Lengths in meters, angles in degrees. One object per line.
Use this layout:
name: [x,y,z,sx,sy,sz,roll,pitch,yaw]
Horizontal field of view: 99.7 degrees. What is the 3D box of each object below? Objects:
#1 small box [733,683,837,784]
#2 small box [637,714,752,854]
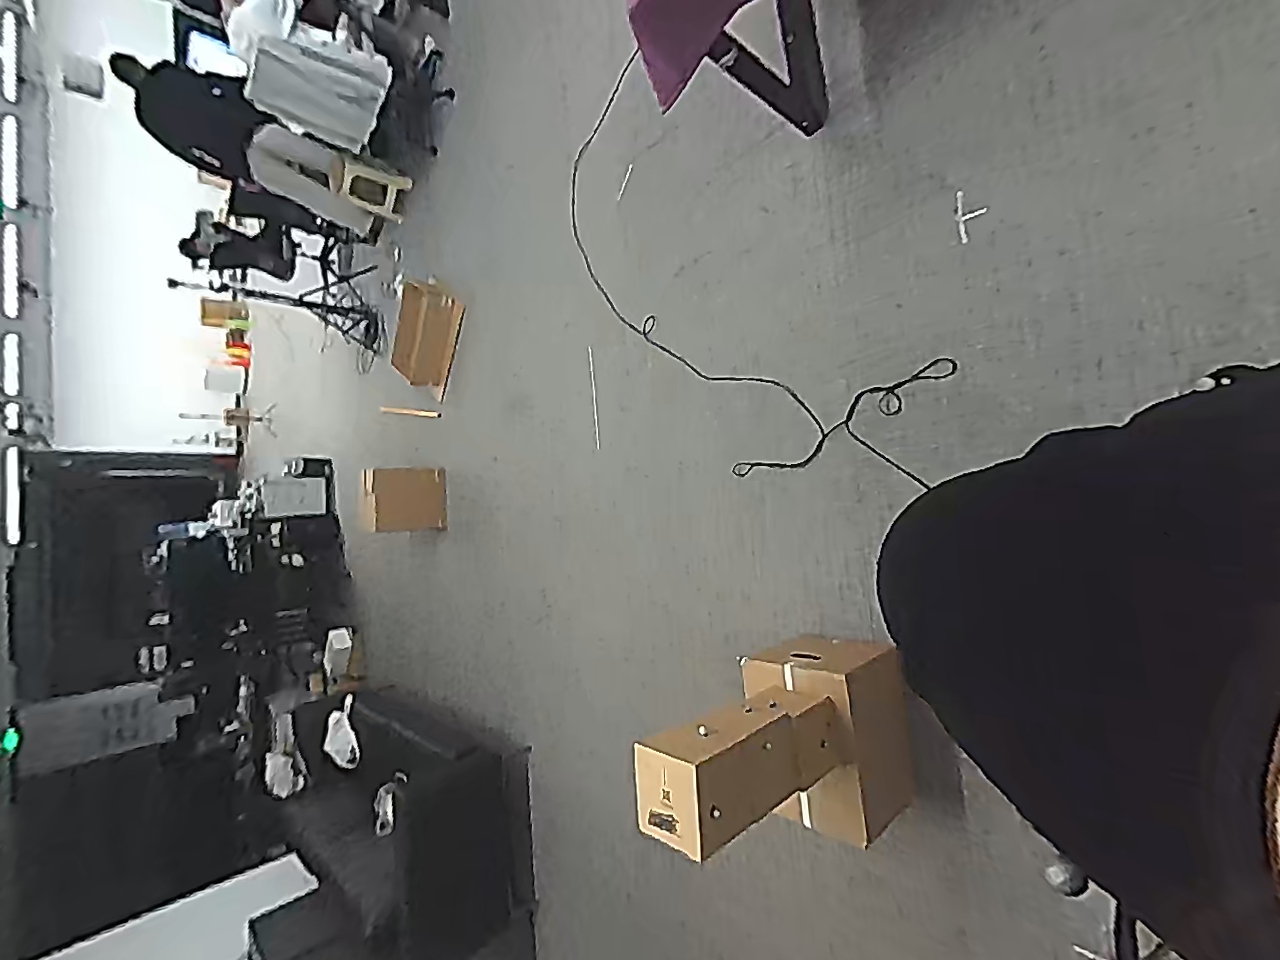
small box: [0.356,0.610,1.327,0.179,0.176,0.168,-12,83,45]
small box: [0.114,0.606,1.104,0.168,0.176,0.179,-7,85,45]
